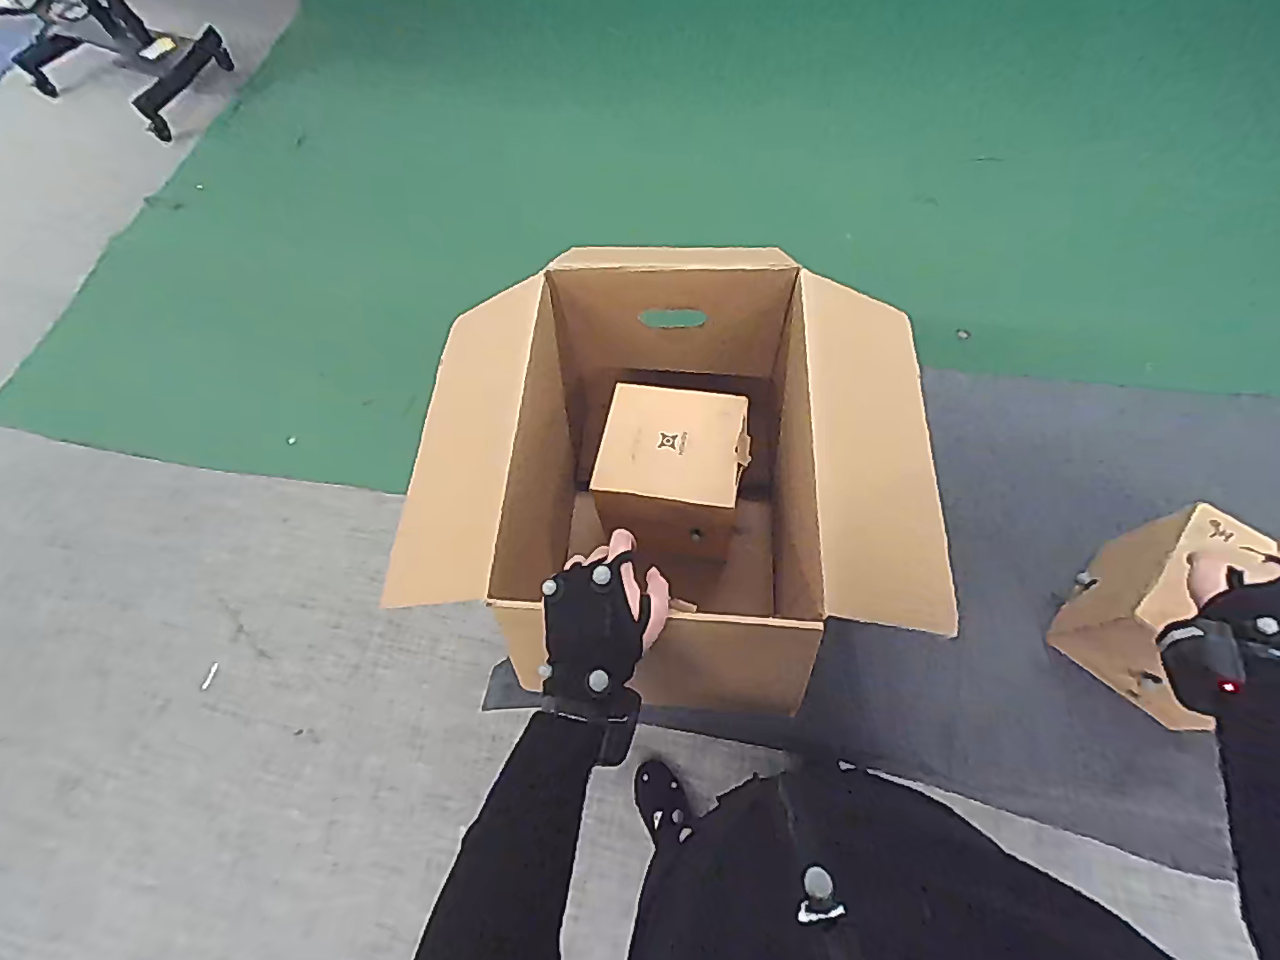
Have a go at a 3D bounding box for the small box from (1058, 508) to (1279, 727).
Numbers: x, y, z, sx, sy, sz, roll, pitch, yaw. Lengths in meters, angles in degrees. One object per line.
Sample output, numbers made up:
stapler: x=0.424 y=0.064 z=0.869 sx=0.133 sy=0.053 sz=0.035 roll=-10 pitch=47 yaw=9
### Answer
small box: x=0.649 y=0.171 z=0.640 sx=0.168 sy=0.176 sz=0.179 roll=39 pitch=75 yaw=21
